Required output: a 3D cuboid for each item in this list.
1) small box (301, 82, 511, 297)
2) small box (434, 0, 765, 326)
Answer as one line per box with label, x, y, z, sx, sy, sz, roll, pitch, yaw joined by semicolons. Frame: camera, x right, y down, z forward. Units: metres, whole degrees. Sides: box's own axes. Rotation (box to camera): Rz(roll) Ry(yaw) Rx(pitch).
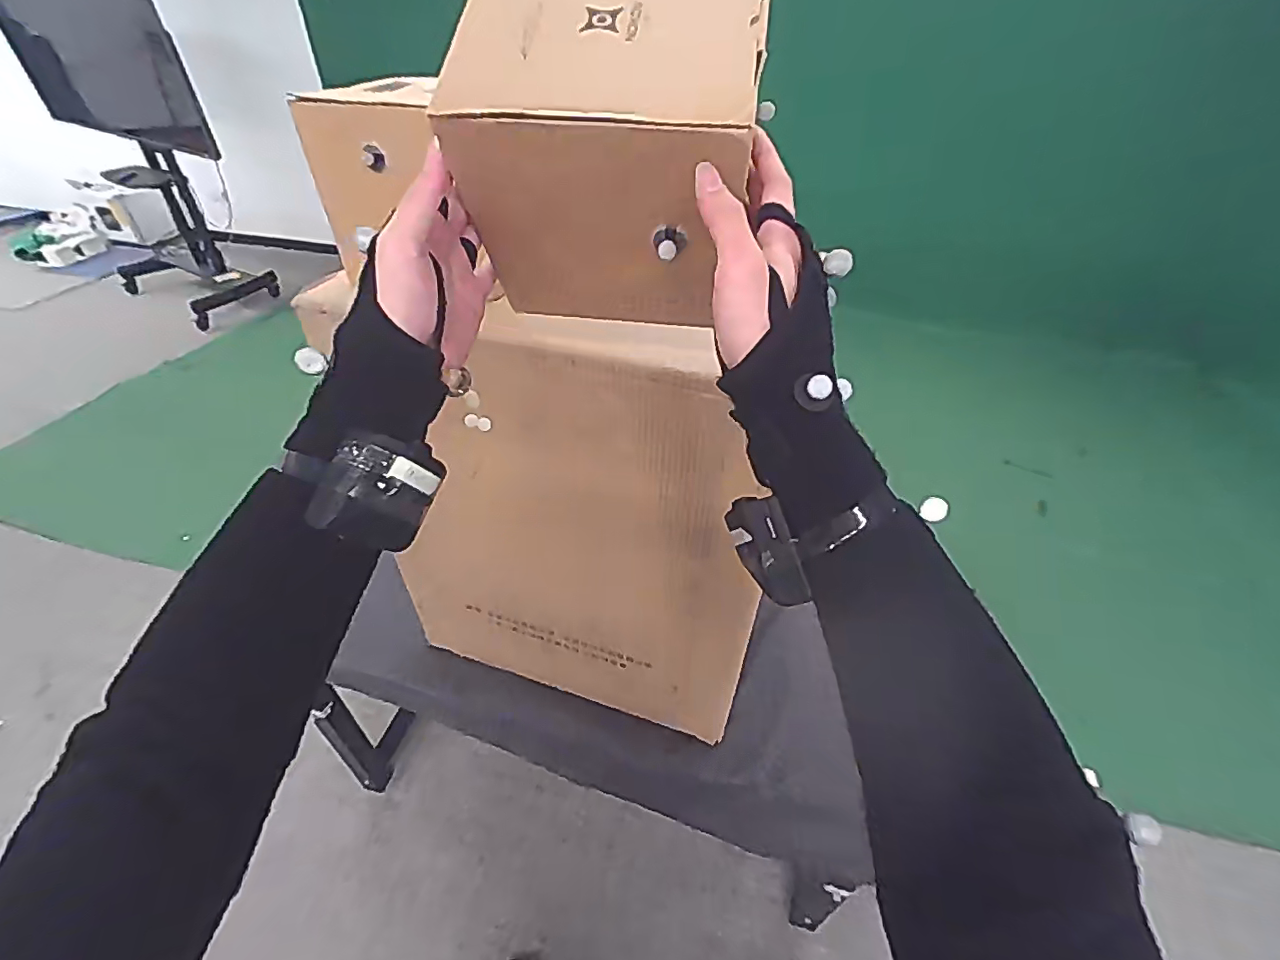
small box;-0.203;-0.314;0.582;0.179;0.176;0.168;12;46;15
small box;-0.012;-0.231;0.392;0.179;0.176;0.168;6;70;8
